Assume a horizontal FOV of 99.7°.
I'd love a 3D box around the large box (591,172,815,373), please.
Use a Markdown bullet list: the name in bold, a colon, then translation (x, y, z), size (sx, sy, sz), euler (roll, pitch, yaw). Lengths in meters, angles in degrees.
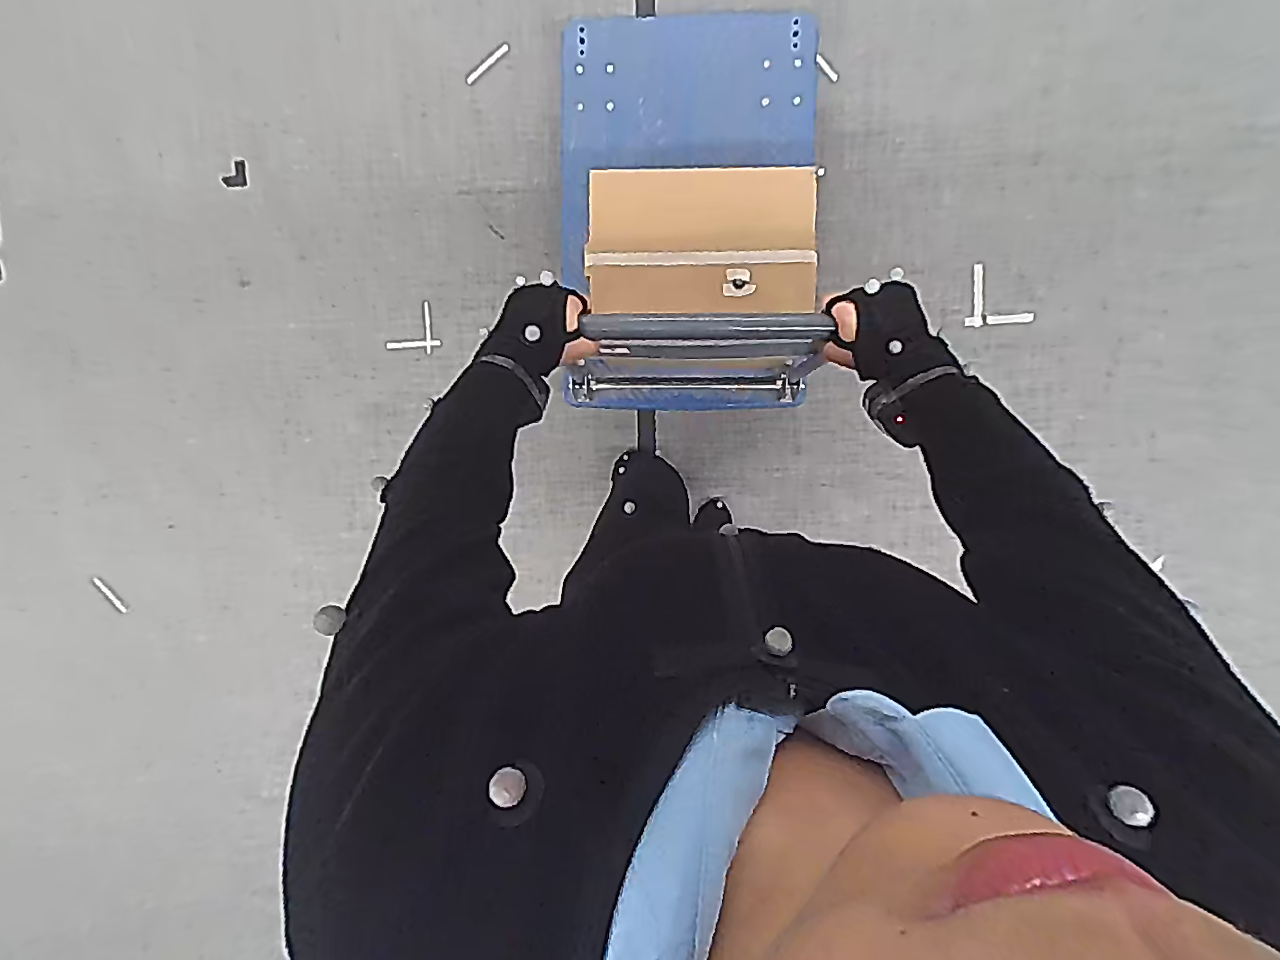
- **large box**: translation (0.115, -0.399, 1.117), size (0.408, 0.320, 0.320), euler (0, 95, 1)
